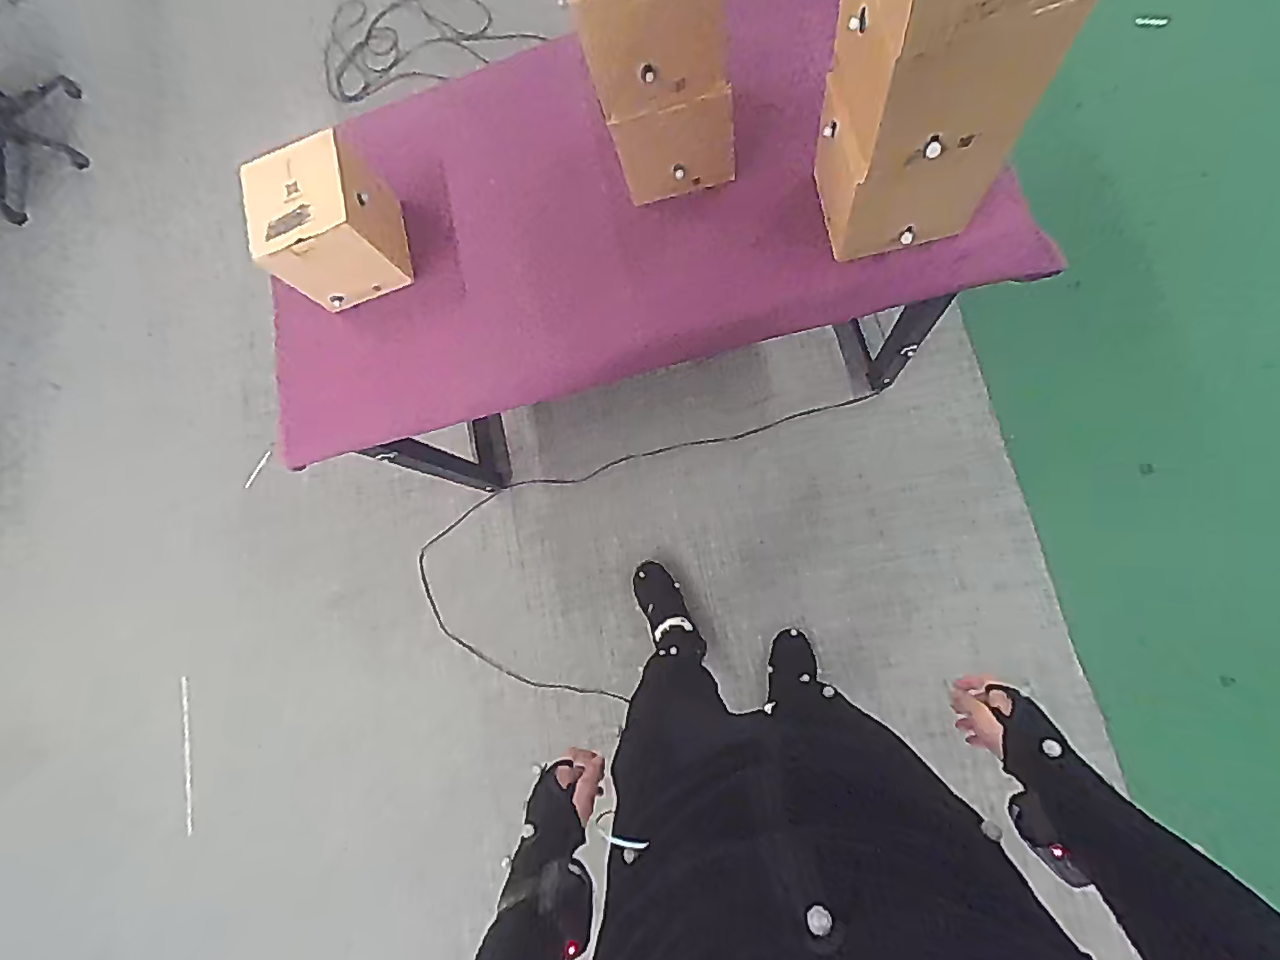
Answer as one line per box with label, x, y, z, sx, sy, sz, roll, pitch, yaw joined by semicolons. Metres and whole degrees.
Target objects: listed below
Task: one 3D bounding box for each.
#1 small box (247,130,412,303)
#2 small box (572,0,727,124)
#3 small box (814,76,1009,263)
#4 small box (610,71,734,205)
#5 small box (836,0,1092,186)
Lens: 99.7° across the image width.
small box;-0.501;-0.416;0.891;0.168;0.176;0.179;-16;77;8
small box;0.007;-0.584;0.652;0.168;0.176;0.179;-13;79;9
small box;0.343;-0.421;0.722;0.179;0.176;0.168;-9;77;10
small box;0.045;-0.553;0.807;0.168;0.176;0.179;-9;79;10
small box;0.311;-0.454;0.565;0.168;0.176;0.179;-10;78;12
